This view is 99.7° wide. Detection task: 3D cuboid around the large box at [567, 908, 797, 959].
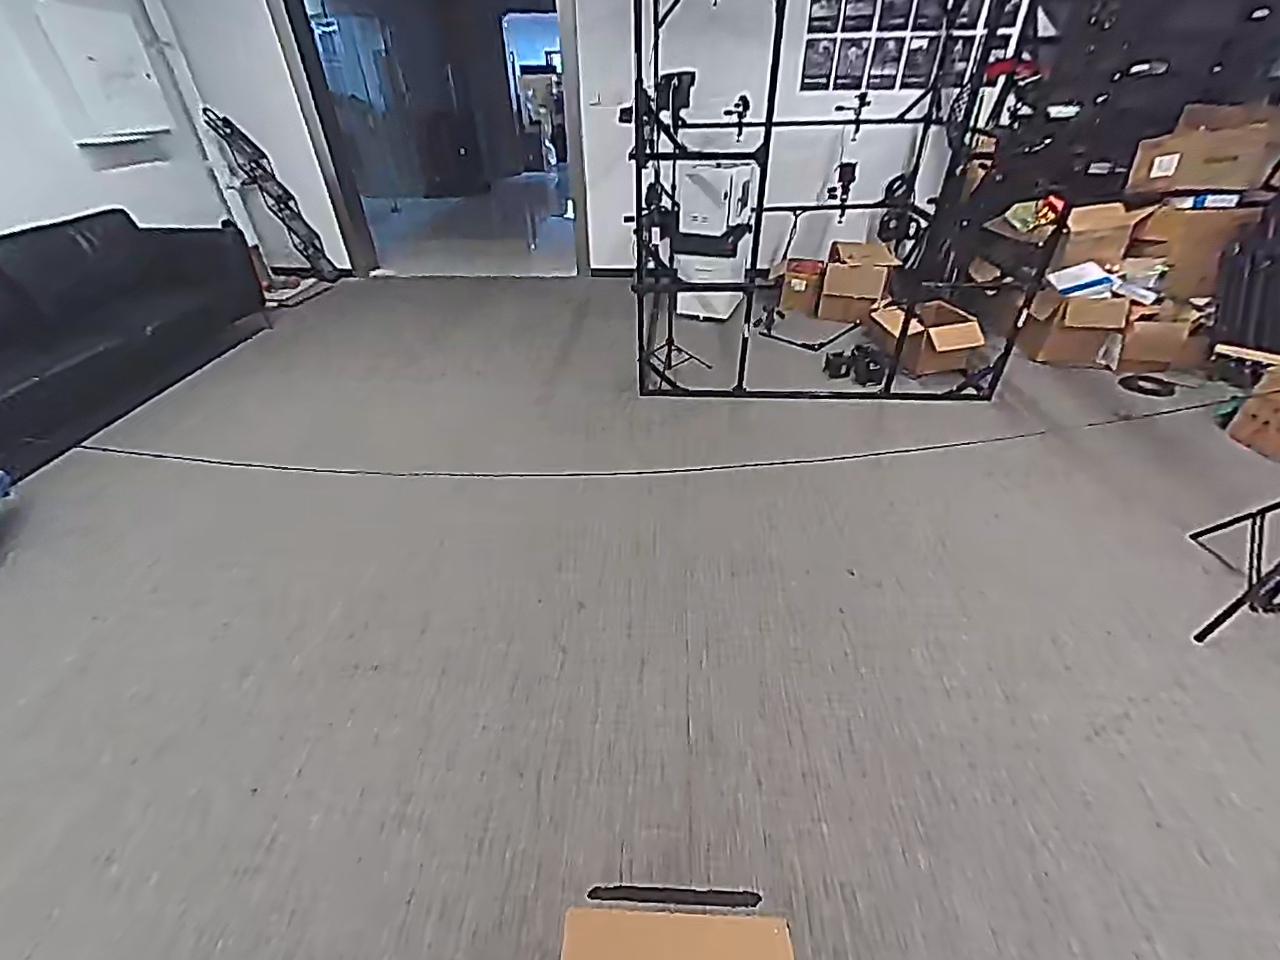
[{"bbox_3d":[0.069,1.002,0.952,0.408,0.320,0.320,1,37,2],"label":"large box"}]
